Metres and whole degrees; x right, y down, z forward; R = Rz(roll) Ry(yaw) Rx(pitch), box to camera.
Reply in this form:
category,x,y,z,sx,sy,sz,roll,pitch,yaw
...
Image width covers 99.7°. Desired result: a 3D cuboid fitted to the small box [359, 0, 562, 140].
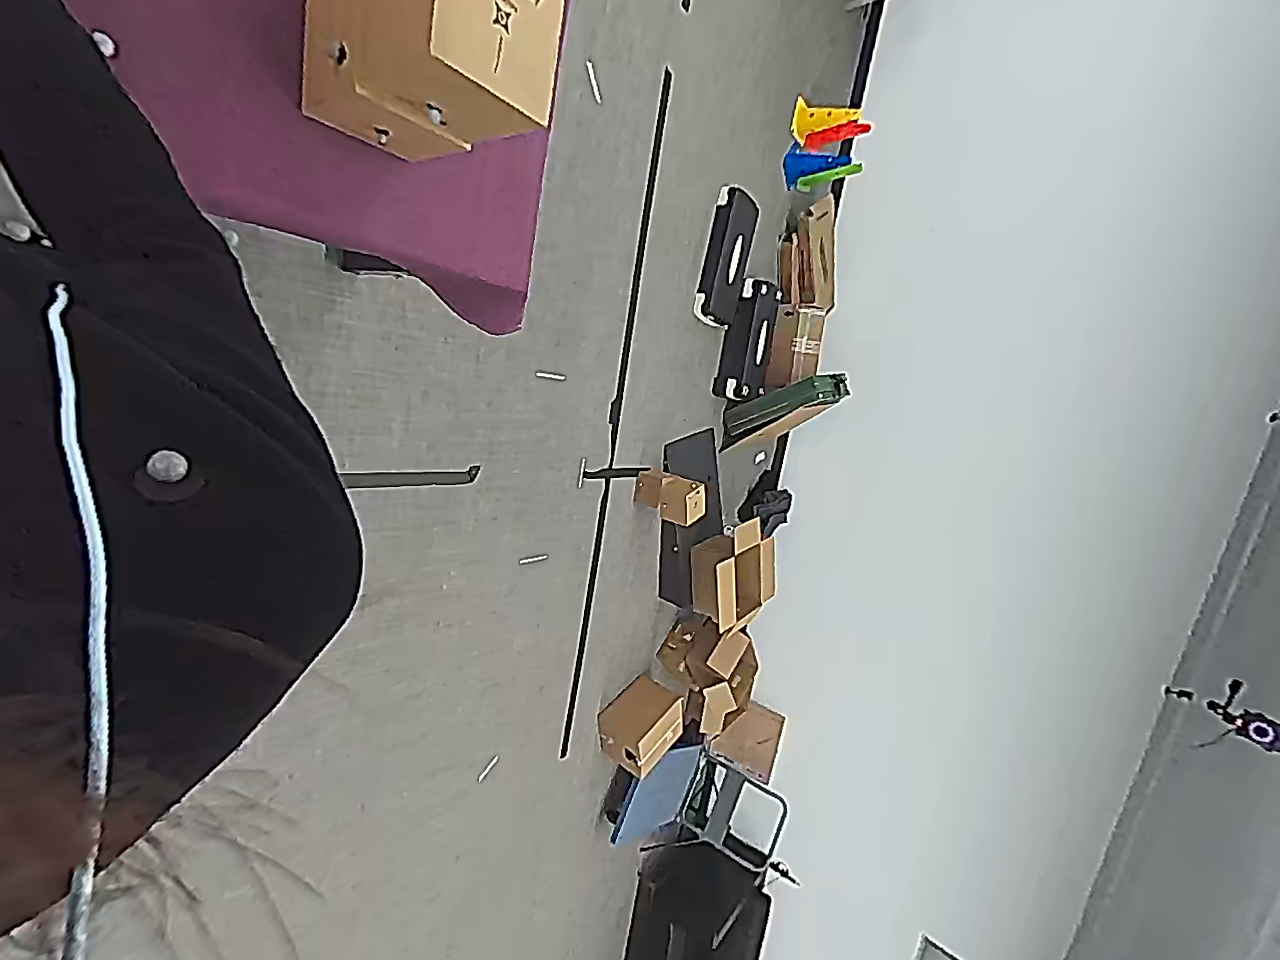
category,x,y,z,sx,sy,sz,roll,pitch,yaw
small box,-0.221,-0.550,0.661,0.168,0.176,0.179,-3,107,-52

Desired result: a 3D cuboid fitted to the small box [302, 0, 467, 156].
category,x,y,z,sx,sy,sz,roll,pitch,yaw
small box,-0.350,-0.582,0.757,0.168,0.176,0.179,-4,107,-53
